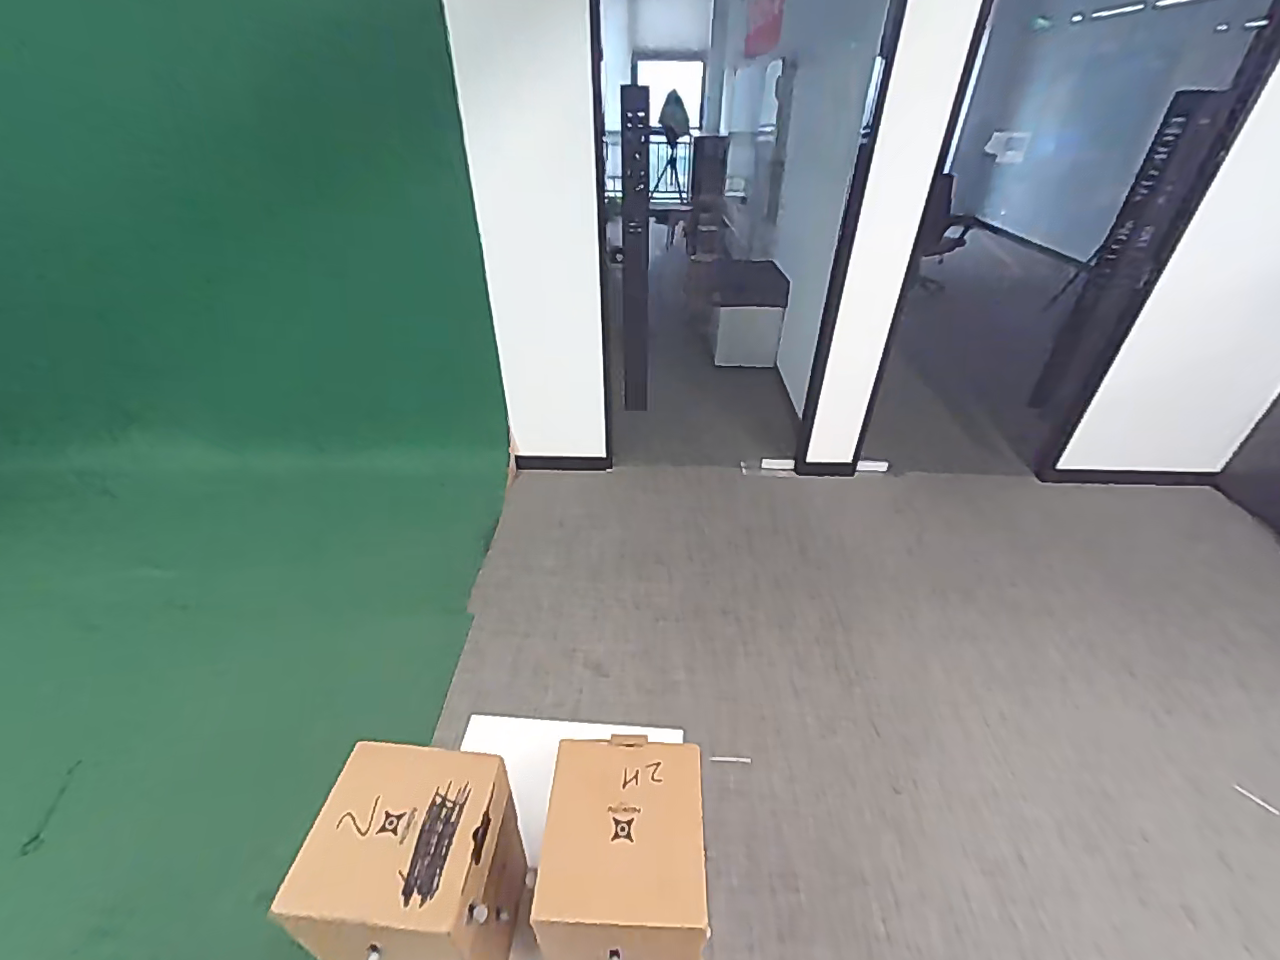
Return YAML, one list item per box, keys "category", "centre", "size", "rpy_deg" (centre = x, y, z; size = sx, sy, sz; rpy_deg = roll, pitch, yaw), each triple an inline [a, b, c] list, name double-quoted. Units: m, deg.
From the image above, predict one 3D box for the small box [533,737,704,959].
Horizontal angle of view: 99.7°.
- category: "small box"
  centre: [-0.016, 0.423, 0.617]
  size: [0.168, 0.176, 0.179]
  rpy_deg: [2, 36, 2]

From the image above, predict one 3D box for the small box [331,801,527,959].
- category: "small box"
  centre: [-0.258, 0.554, 0.712]
  size: [0.179, 0.176, 0.168]
  rpy_deg: [5, 36, 2]
